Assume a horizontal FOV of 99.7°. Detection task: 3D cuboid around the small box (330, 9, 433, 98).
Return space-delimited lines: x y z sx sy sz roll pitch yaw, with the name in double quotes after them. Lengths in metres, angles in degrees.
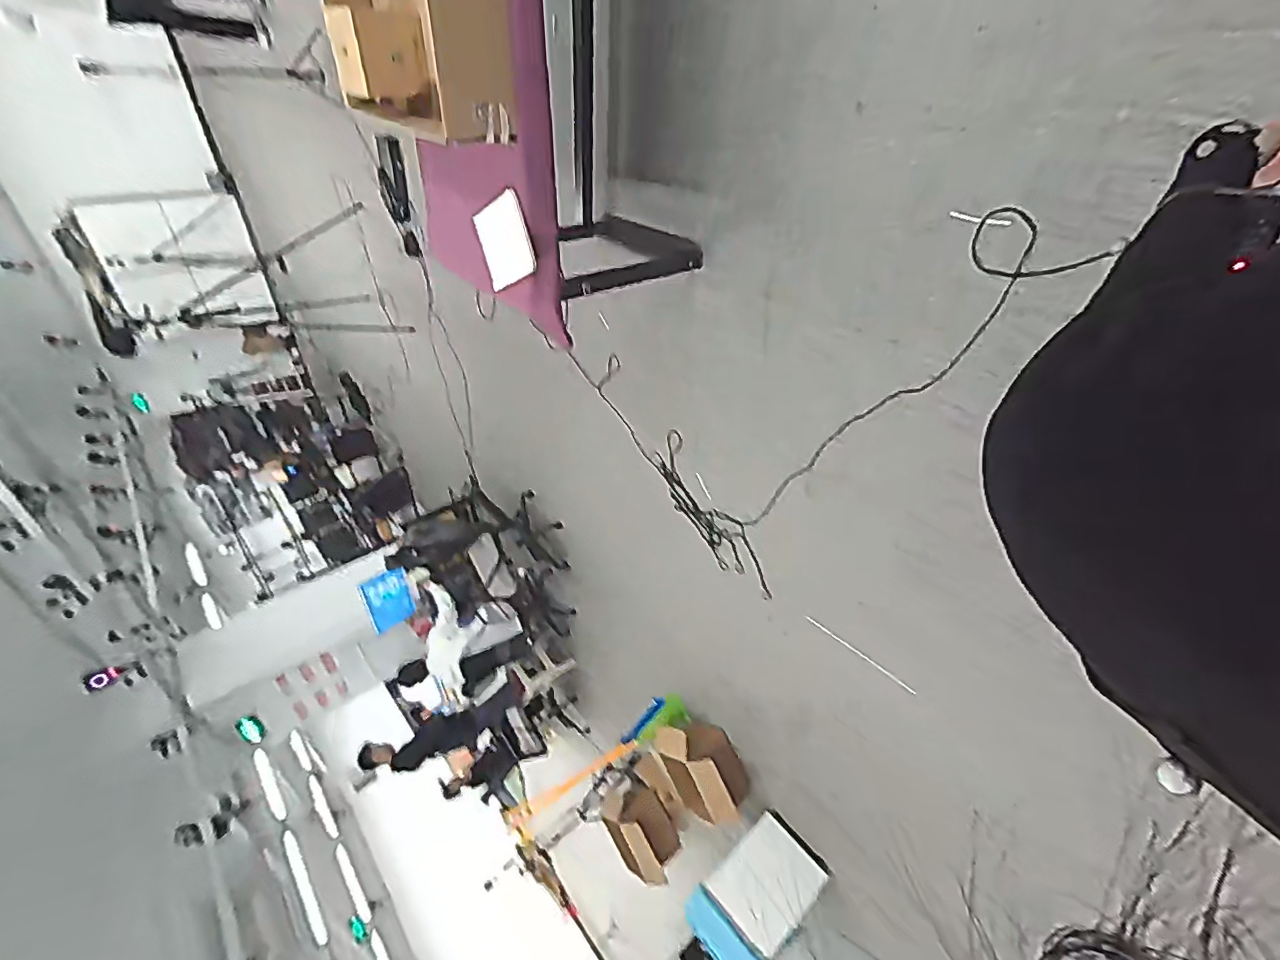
-0.640 -1.075 1.363 0.179 0.176 0.168 36 139 34 "small box"
